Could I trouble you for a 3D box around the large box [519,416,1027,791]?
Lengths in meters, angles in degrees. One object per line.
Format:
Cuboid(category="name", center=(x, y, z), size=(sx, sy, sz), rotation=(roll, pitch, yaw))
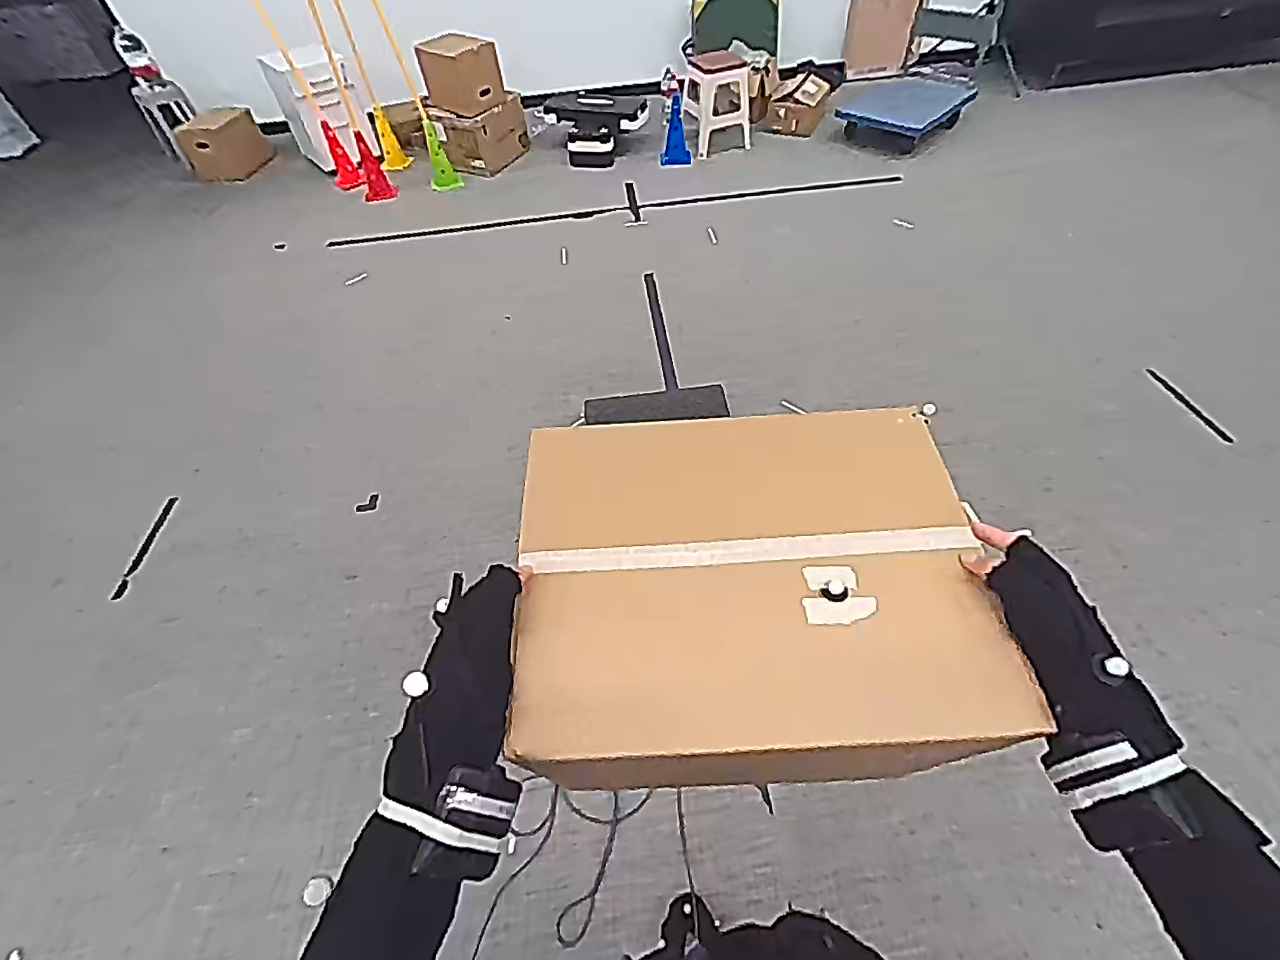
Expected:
Cuboid(category="large box", center=(0.099, 0.154, 0.620), size=(0.408, 0.320, 0.320), rotation=(-3, 56, 0))
